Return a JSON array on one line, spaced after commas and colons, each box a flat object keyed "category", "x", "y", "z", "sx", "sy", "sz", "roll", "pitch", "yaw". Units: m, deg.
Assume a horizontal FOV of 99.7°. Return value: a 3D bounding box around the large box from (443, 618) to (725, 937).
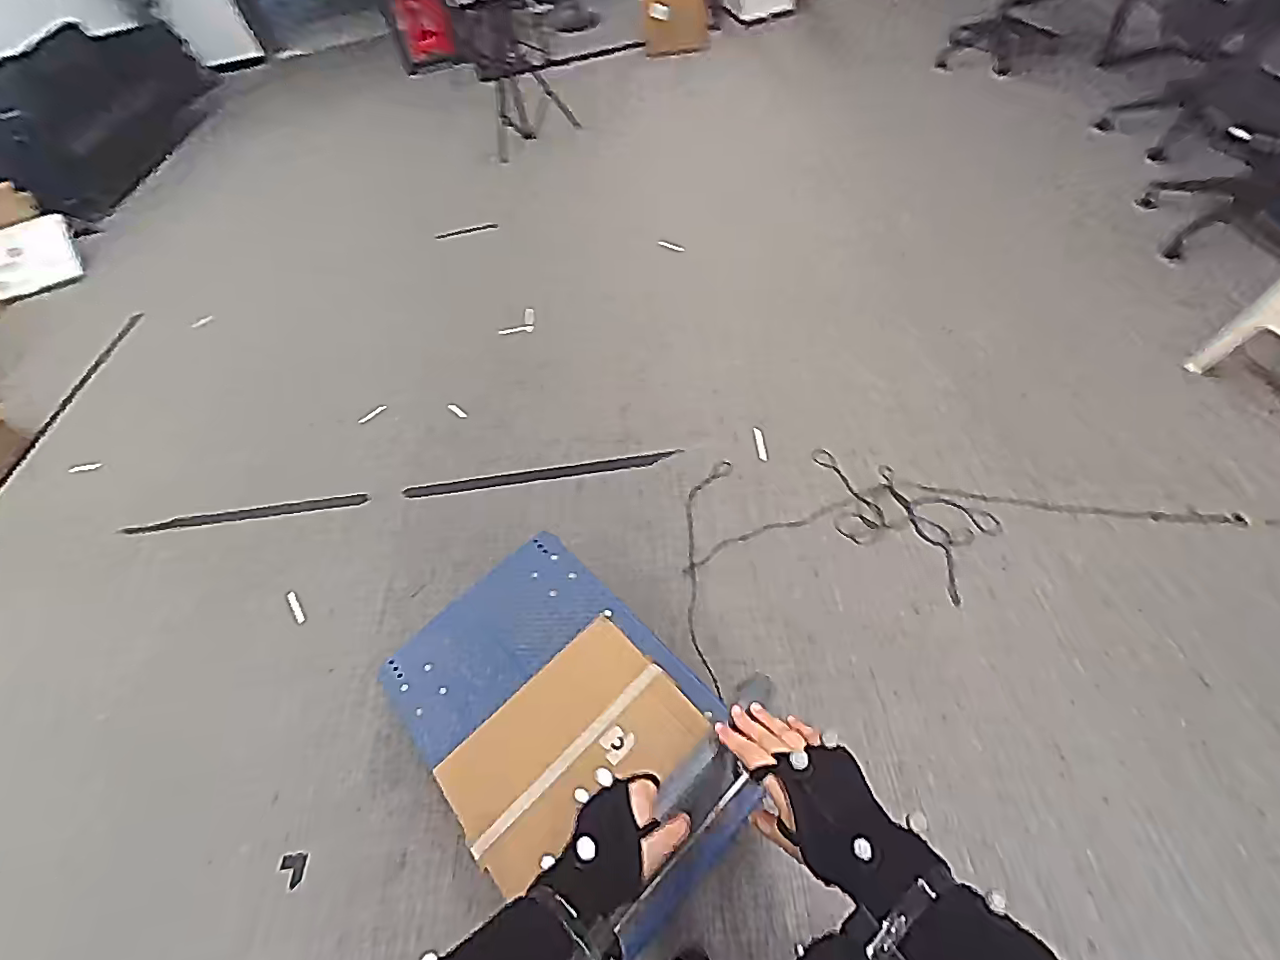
[{"category": "large box", "x": -0.083, "y": 0.560, "z": 1.045, "sx": 0.408, "sy": 0.320, "sz": 0.320, "roll": -40, "pitch": 57, "yaw": -19}]
